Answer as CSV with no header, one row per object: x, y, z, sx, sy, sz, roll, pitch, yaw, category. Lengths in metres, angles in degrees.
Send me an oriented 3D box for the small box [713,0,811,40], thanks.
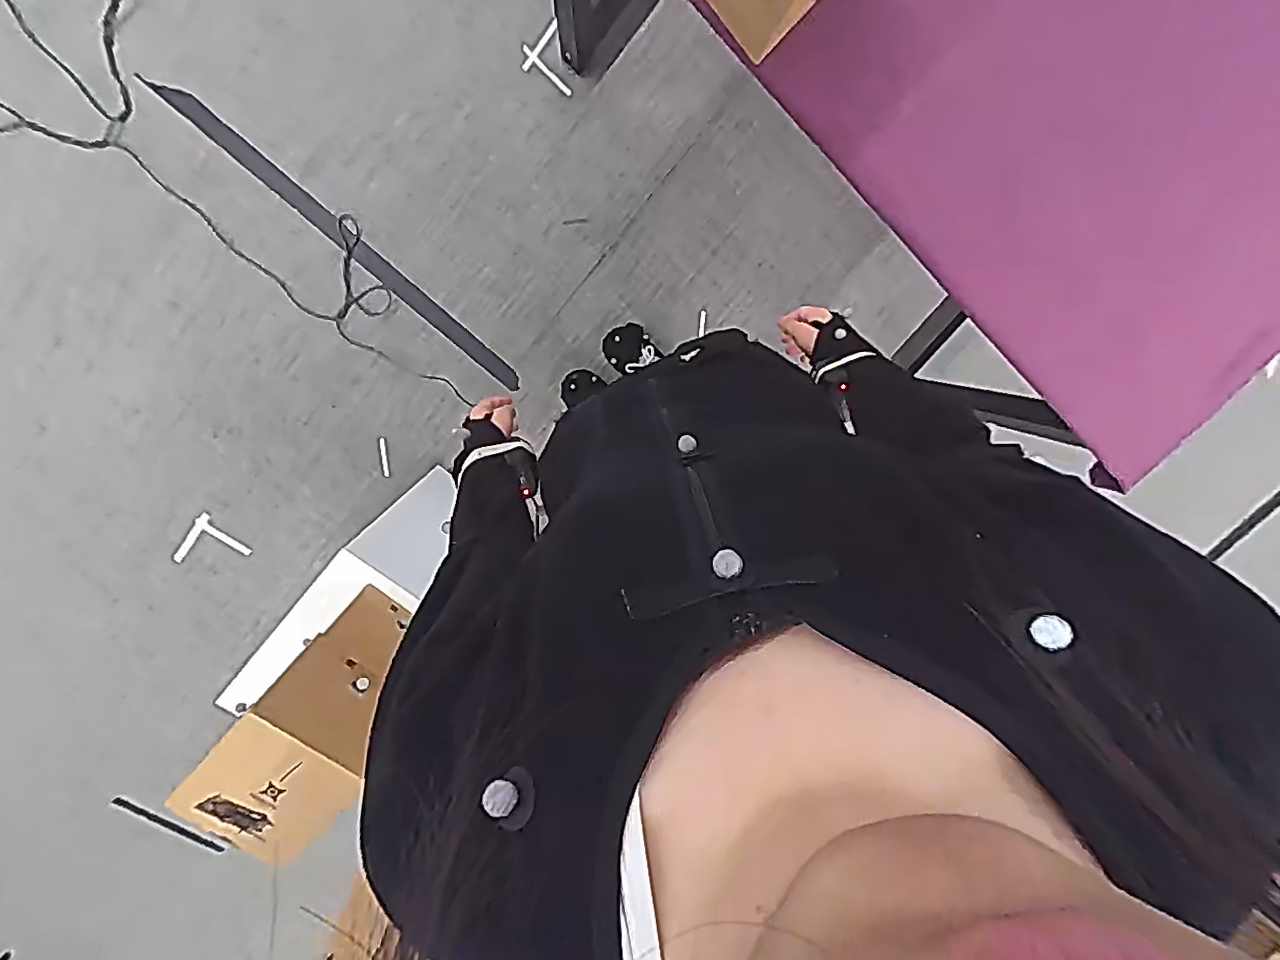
0.139,-0.571,0.511,0.168,0.176,0.179,-44,105,9,small box

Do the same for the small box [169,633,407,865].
-0.443,0.344,0.715,0.168,0.176,0.179,42,98,-15,small box
